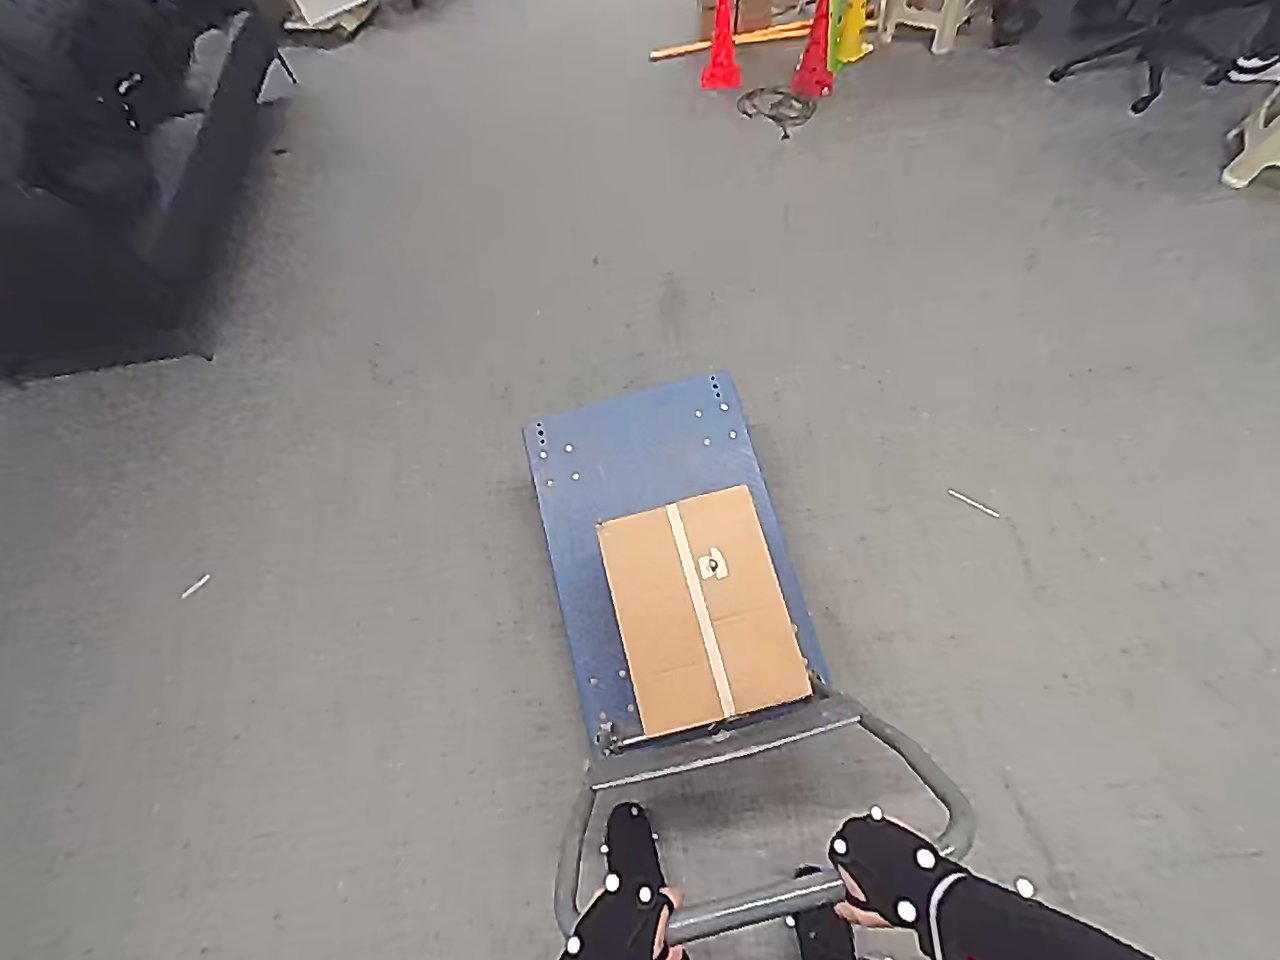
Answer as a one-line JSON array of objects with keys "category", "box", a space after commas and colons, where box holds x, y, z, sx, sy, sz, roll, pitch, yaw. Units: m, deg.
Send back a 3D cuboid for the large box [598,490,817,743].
[{"category": "large box", "box": [0.128, 0.281, 1.149, 0.320, 0.320, 0.408, -15, 75, -1]}]
